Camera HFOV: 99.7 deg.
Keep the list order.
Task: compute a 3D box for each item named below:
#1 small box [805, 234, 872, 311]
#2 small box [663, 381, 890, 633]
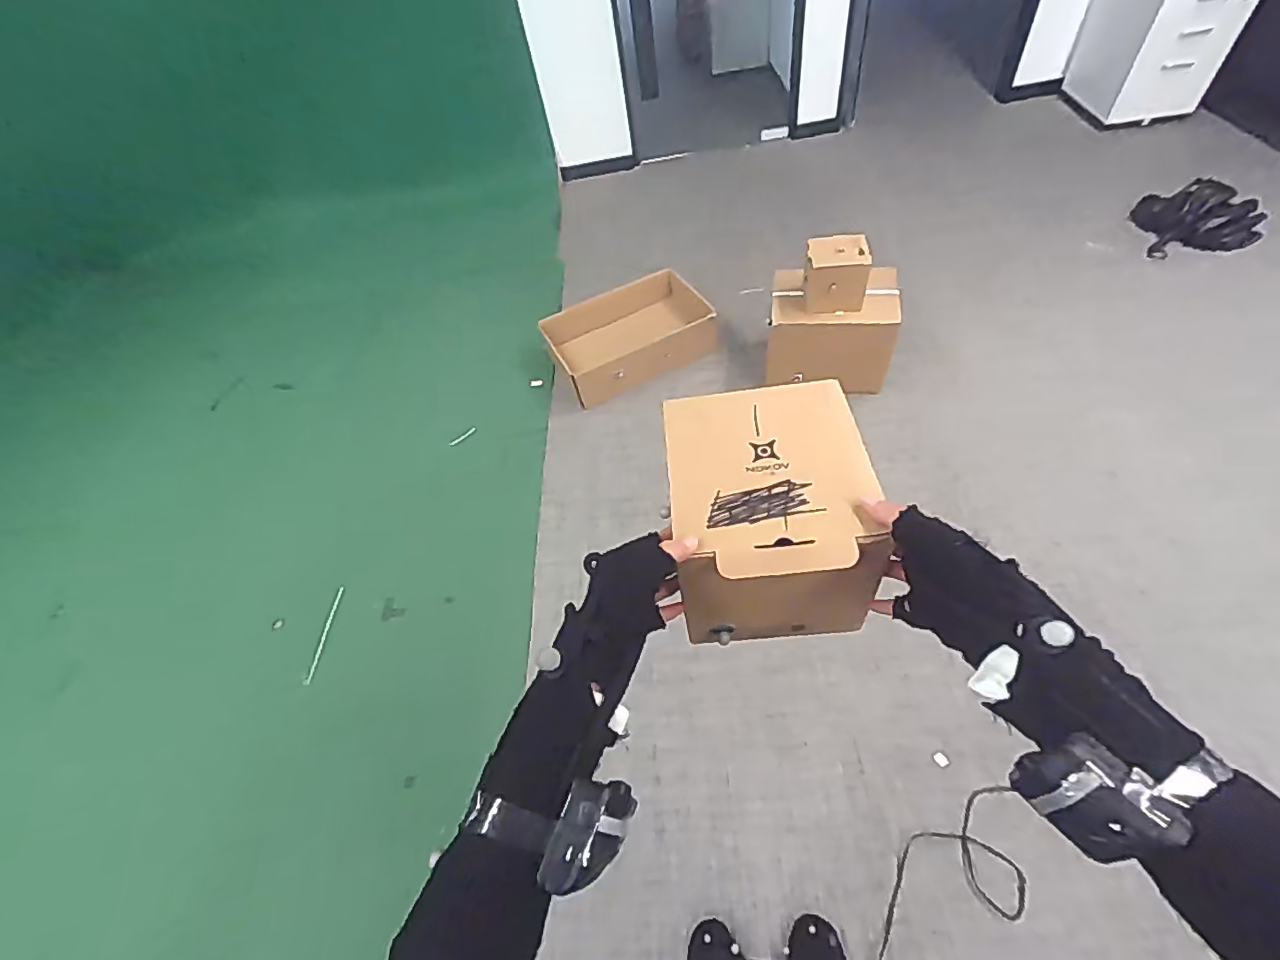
[{"bbox_3d":[0.630,-0.661,1.739,0.179,0.176,0.168,-1,54,10],"label":"small box"},{"bbox_3d":[0.115,0.034,0.514,0.168,0.176,0.179,-6,50,5],"label":"small box"}]
